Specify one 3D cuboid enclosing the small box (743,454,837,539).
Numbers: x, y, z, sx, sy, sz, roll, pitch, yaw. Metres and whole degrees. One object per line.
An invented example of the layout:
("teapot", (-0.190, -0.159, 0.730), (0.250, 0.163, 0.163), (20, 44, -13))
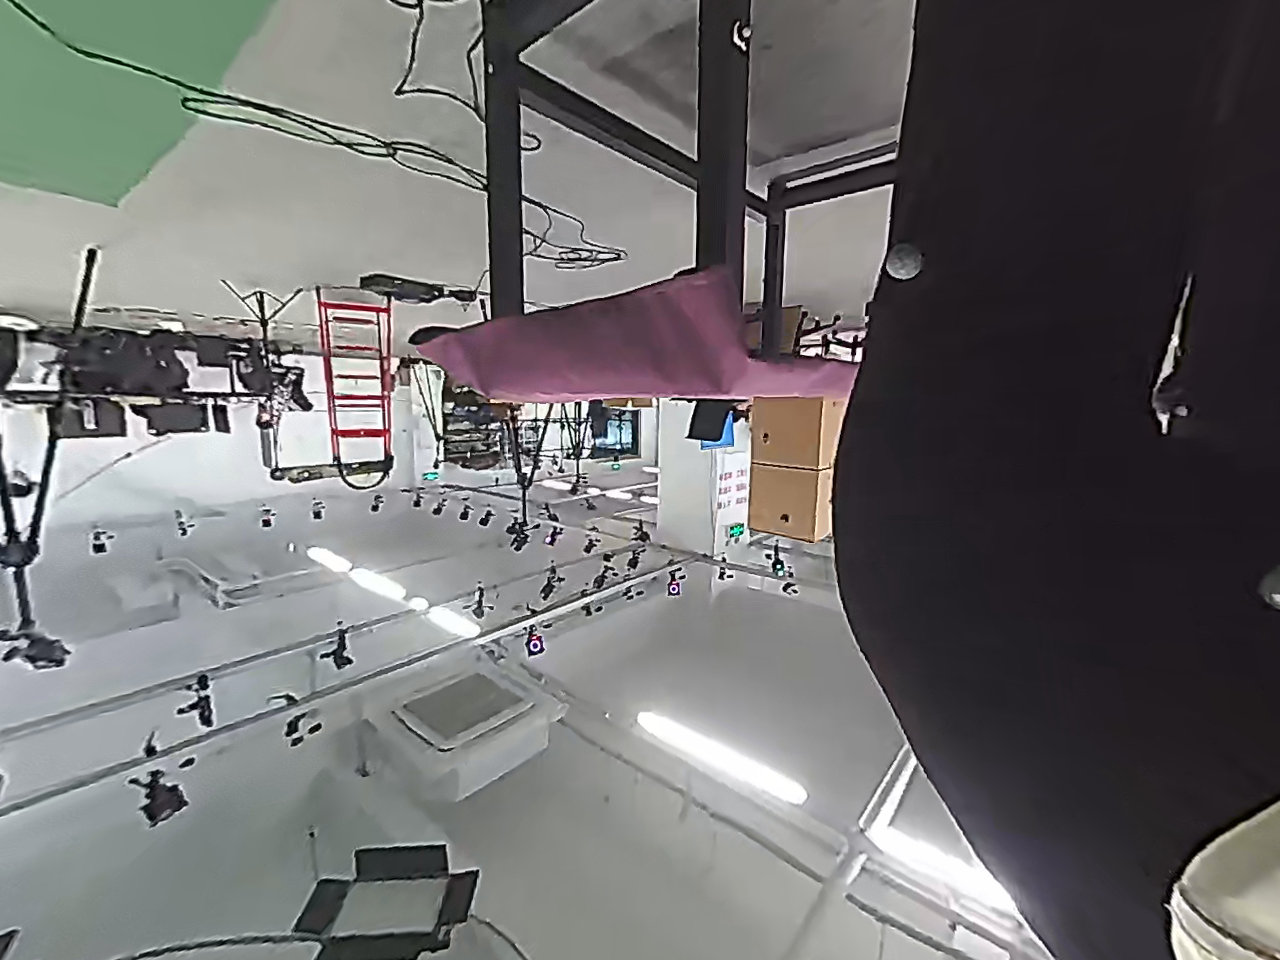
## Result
("small box", (0.369, 0.033, 1.322), (0.179, 0.176, 0.168), (10, -167, 40))
